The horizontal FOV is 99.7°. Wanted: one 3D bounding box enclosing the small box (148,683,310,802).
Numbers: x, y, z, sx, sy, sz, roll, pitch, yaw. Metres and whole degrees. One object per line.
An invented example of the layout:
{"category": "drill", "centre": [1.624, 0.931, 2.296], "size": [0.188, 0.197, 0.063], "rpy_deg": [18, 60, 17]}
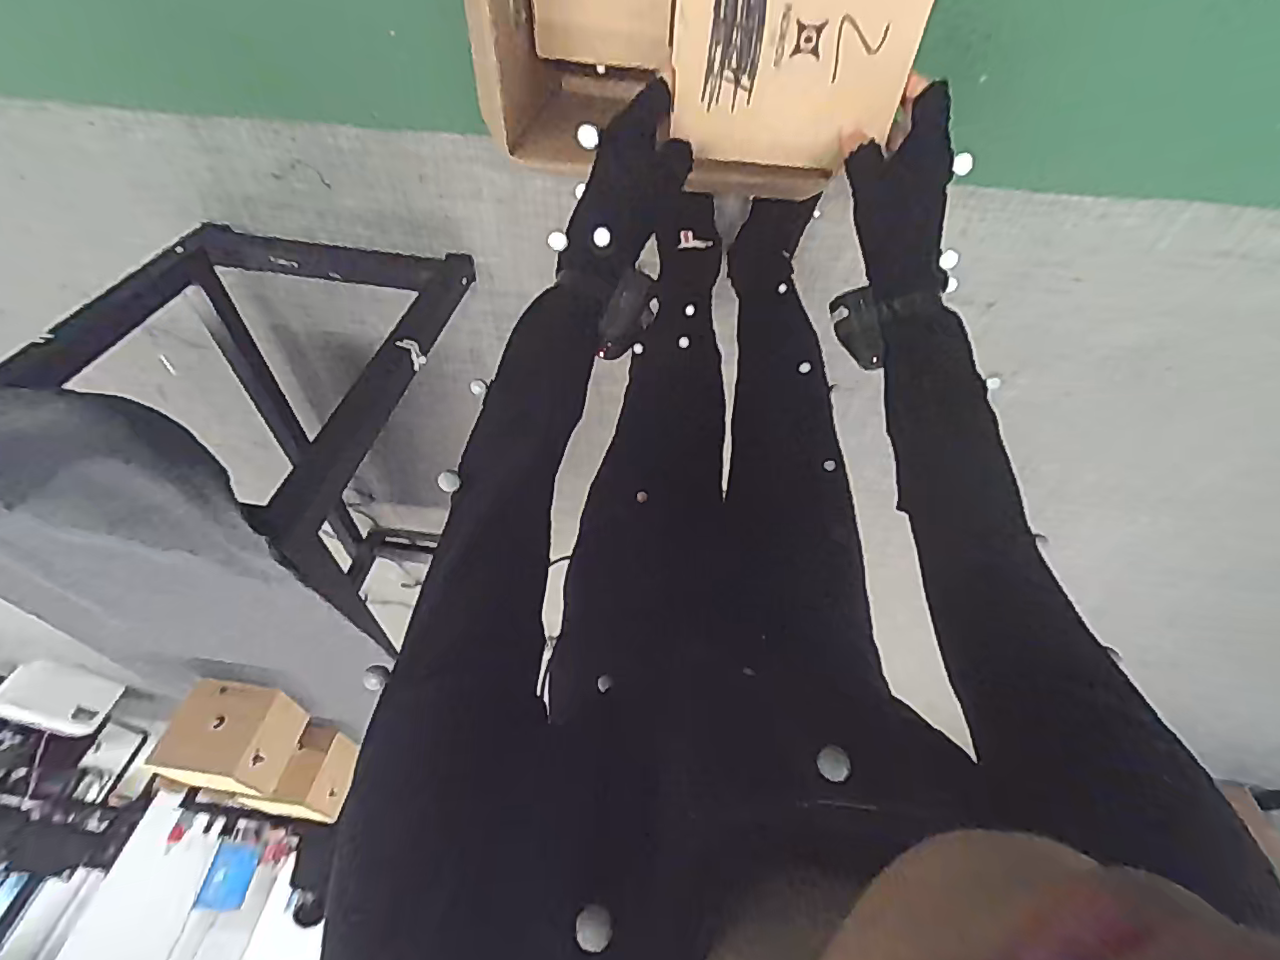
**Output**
{"category": "small box", "centre": [-0.816, 0.530, 1.097], "size": [0.168, 0.176, 0.179], "rpy_deg": [9, 139, 1]}

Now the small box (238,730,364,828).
{"category": "small box", "centre": [-0.806, 0.720, 1.312], "size": [0.168, 0.176, 0.179], "rpy_deg": [5, 138, 5]}
